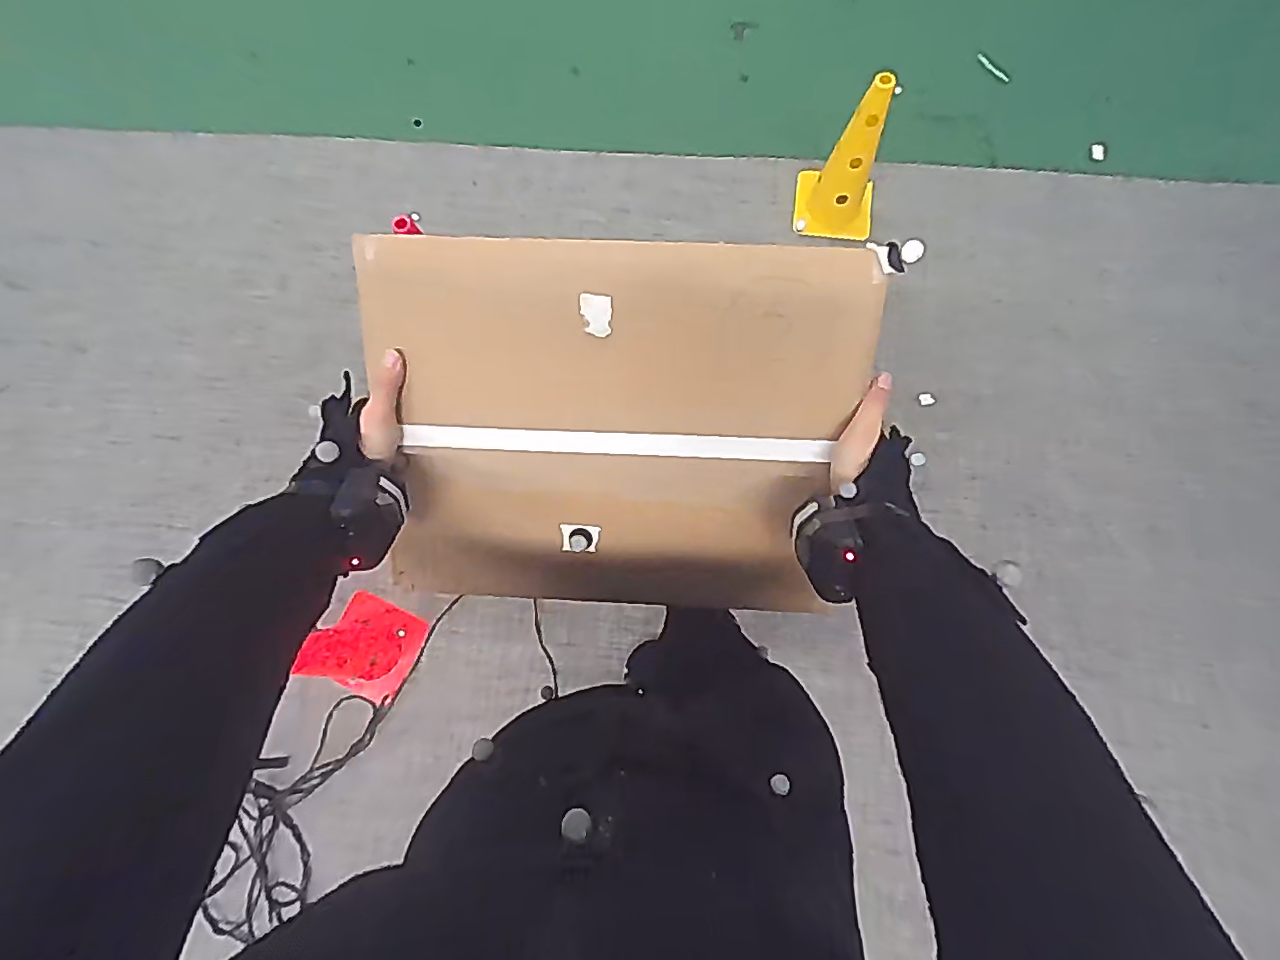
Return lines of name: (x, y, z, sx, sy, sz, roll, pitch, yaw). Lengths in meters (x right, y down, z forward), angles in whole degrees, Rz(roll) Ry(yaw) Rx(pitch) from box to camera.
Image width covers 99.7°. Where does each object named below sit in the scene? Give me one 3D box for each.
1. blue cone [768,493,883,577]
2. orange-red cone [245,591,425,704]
blue cone: (0.382, 0.084, 1.072, 0.192, 0.380, 0.193, 5, 76, 4)
orange-red cone: (-0.617, 0.329, 1.049, 0.199, 0.360, 0.198, 24, 77, 10)
